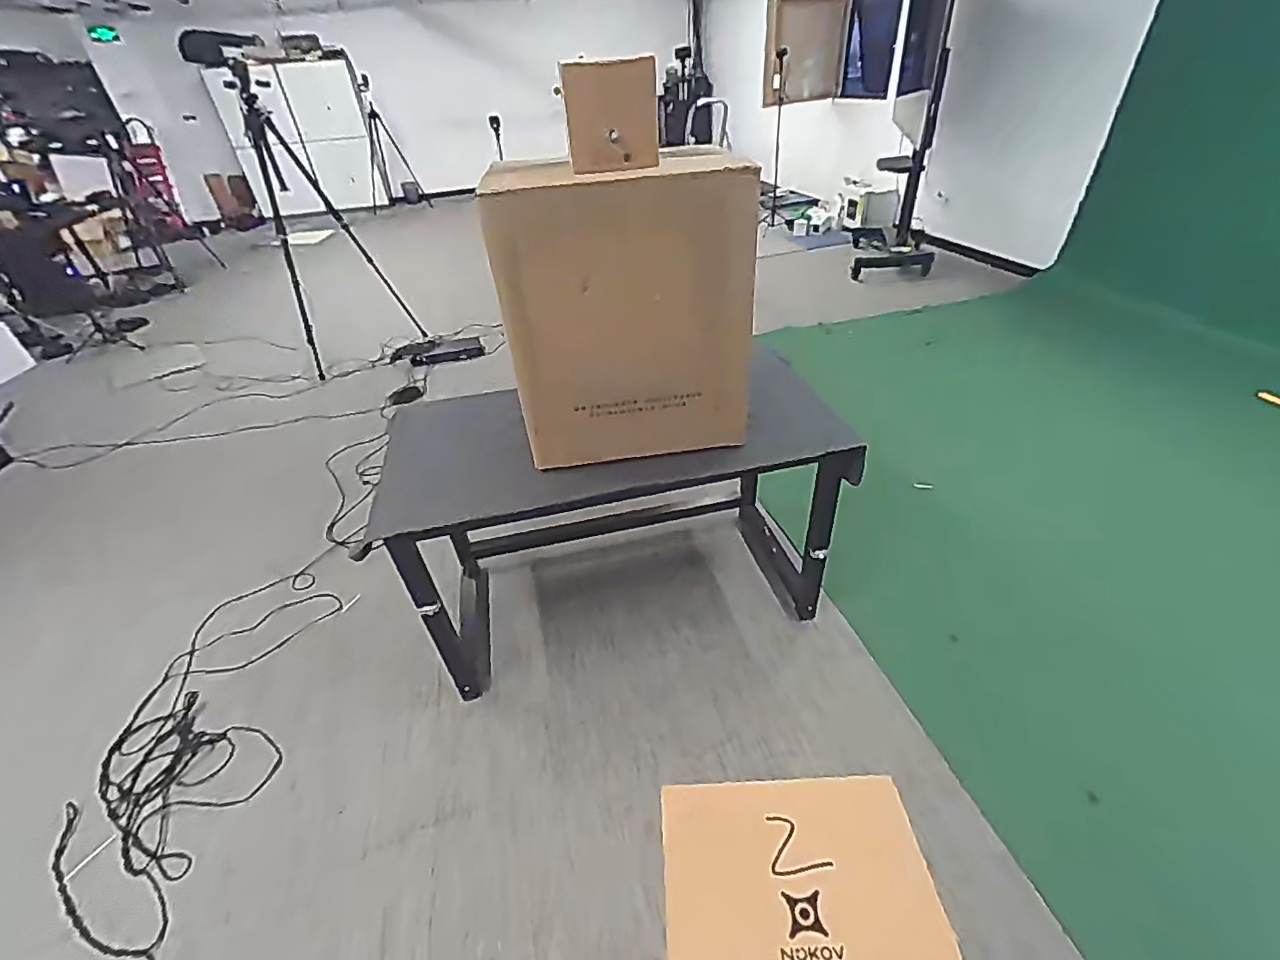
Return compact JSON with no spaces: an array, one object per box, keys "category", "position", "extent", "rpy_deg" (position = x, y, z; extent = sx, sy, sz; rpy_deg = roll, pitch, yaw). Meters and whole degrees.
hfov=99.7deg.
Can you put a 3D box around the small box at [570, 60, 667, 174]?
[{"category":"small box","position":[-0.042,-0.701,1.045],"extent":[0.168,0.176,0.179],"rpy_deg":[-8,40,-5]}]
